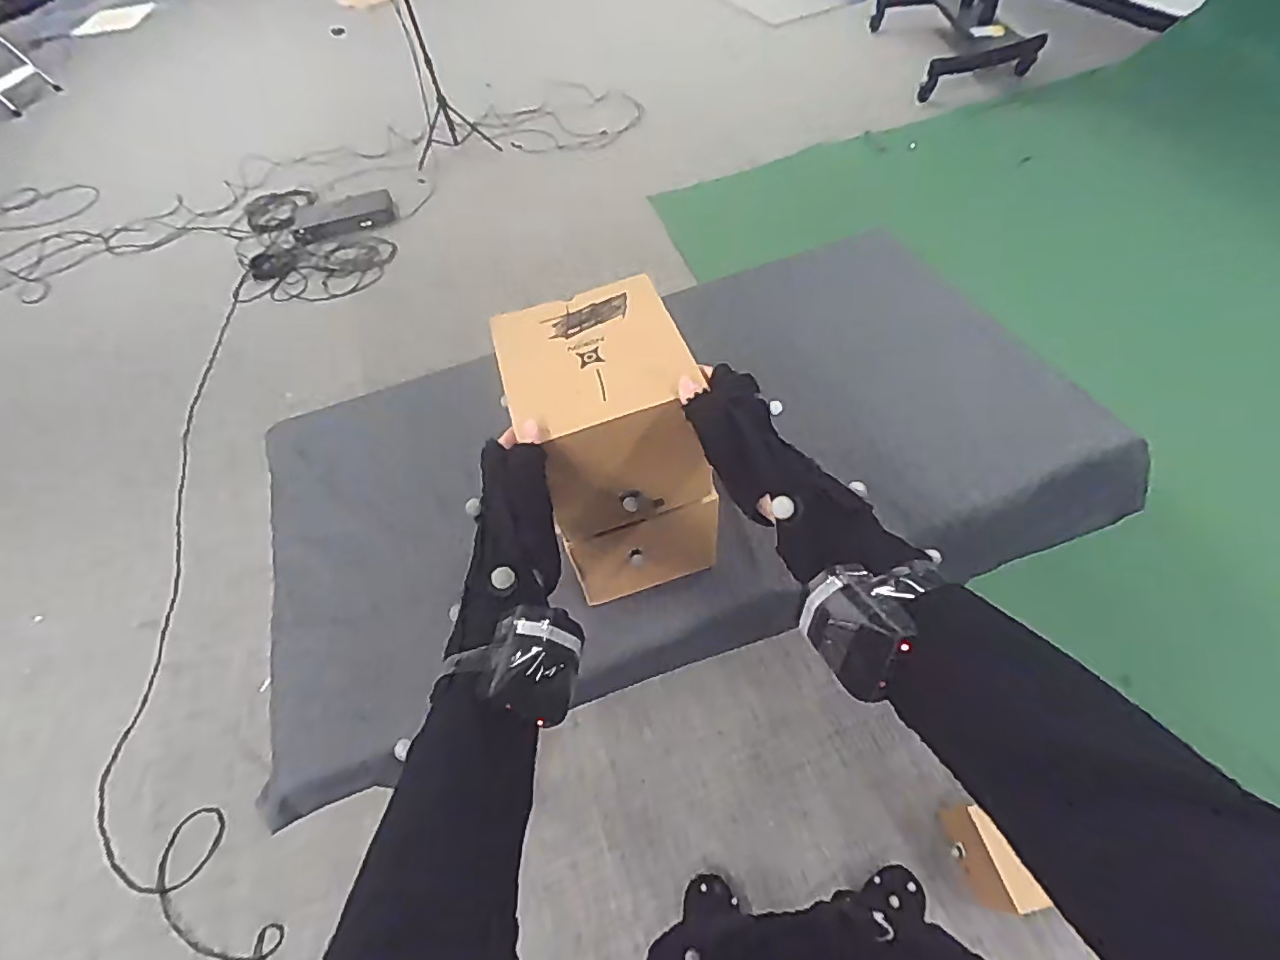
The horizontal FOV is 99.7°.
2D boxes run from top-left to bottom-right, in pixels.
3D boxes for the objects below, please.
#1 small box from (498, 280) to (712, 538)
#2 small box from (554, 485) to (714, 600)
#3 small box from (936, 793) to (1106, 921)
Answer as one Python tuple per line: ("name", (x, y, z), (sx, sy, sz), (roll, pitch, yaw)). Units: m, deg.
("small box", (-0.033, -0.069, 0.558), (0.168, 0.176, 0.179), (-17, 55, -4))
("small box", (-0.013, 0.032, 0.694), (0.179, 0.176, 0.168), (-17, 55, -5))
("small box", (0.714, 0.718, 1.039), (0.179, 0.176, 0.168), (-14, 55, -2))
